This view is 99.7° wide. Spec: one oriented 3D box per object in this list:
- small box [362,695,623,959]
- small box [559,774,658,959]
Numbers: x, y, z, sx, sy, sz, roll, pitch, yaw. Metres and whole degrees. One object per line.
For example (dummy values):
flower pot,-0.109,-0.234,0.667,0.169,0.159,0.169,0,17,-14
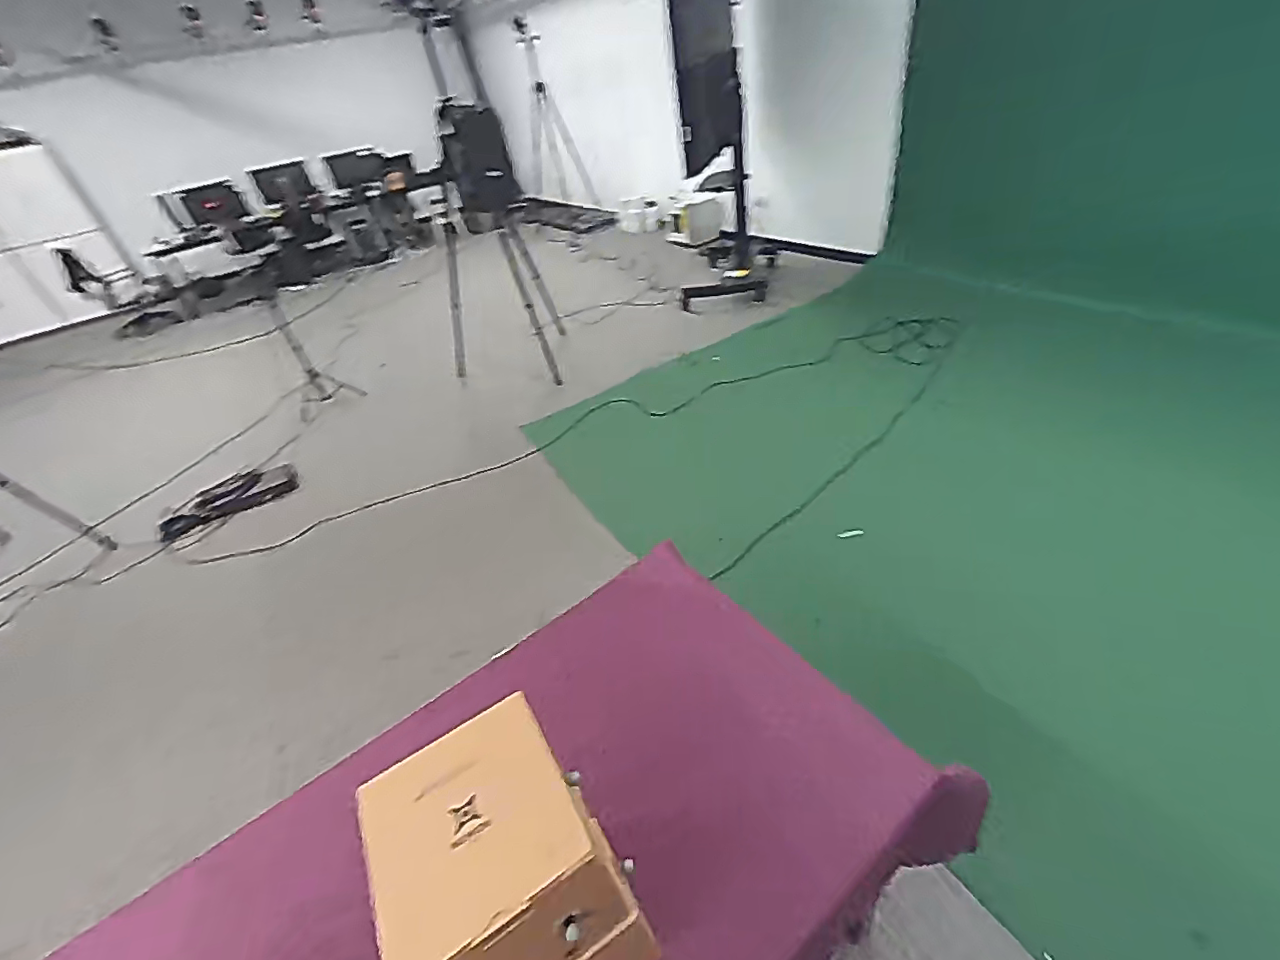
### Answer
small box,-0.135,0.355,0.516,0.168,0.176,0.179,-27,39,-18
small box,-0.100,0.485,0.608,0.179,0.176,0.168,-28,40,-18
